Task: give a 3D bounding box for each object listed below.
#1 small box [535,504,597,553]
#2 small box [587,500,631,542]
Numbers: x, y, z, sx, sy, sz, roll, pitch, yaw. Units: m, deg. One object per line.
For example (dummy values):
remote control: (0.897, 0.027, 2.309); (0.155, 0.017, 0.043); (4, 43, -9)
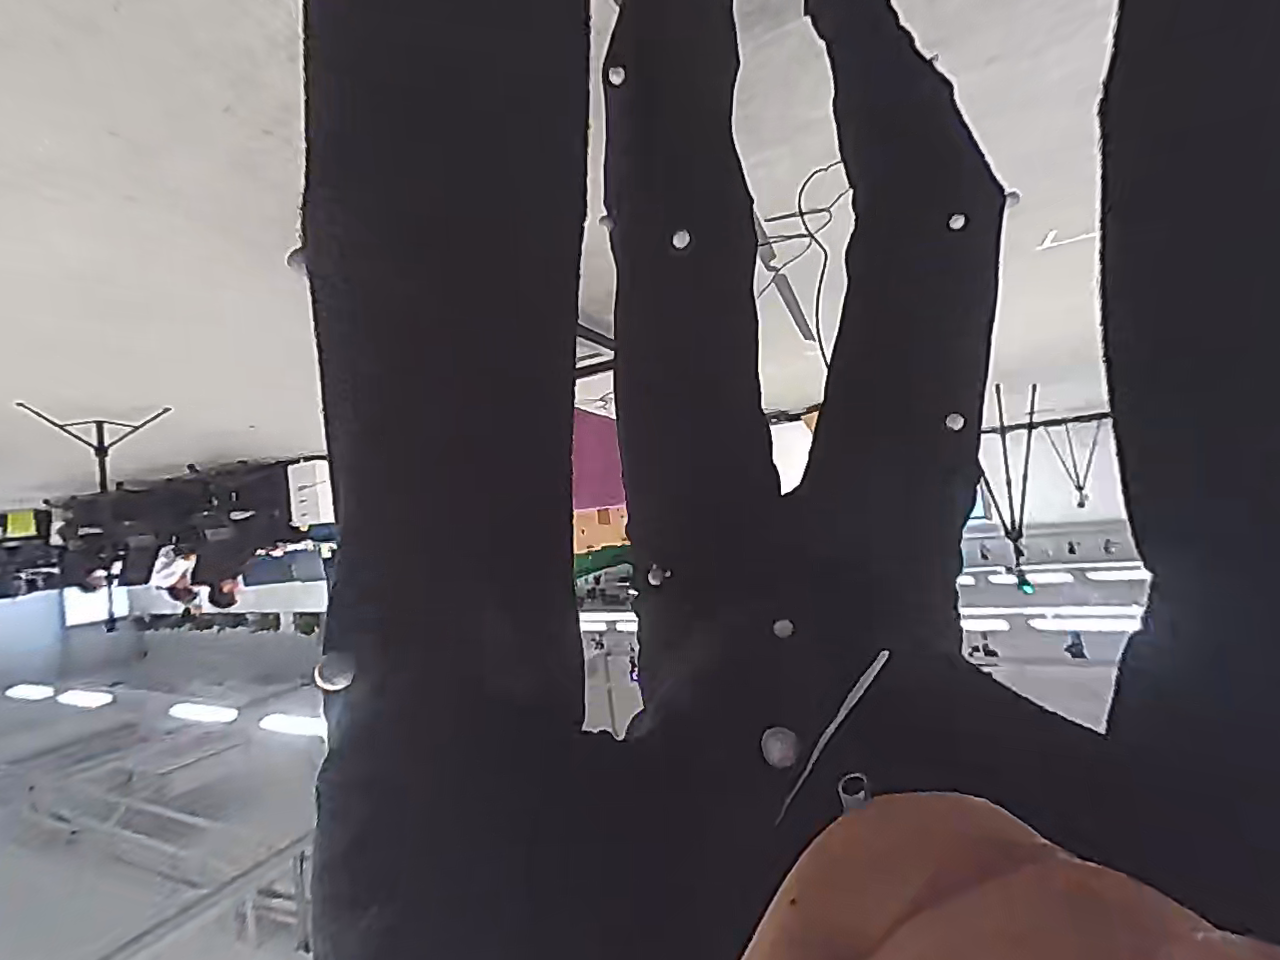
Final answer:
small box: (-0.289, 0.184, 2.105); (0.179, 0.176, 0.168); (-7, 178, 27)
small box: (-0.161, 0.177, 2.343); (0.179, 0.176, 0.168); (-8, 178, 34)
